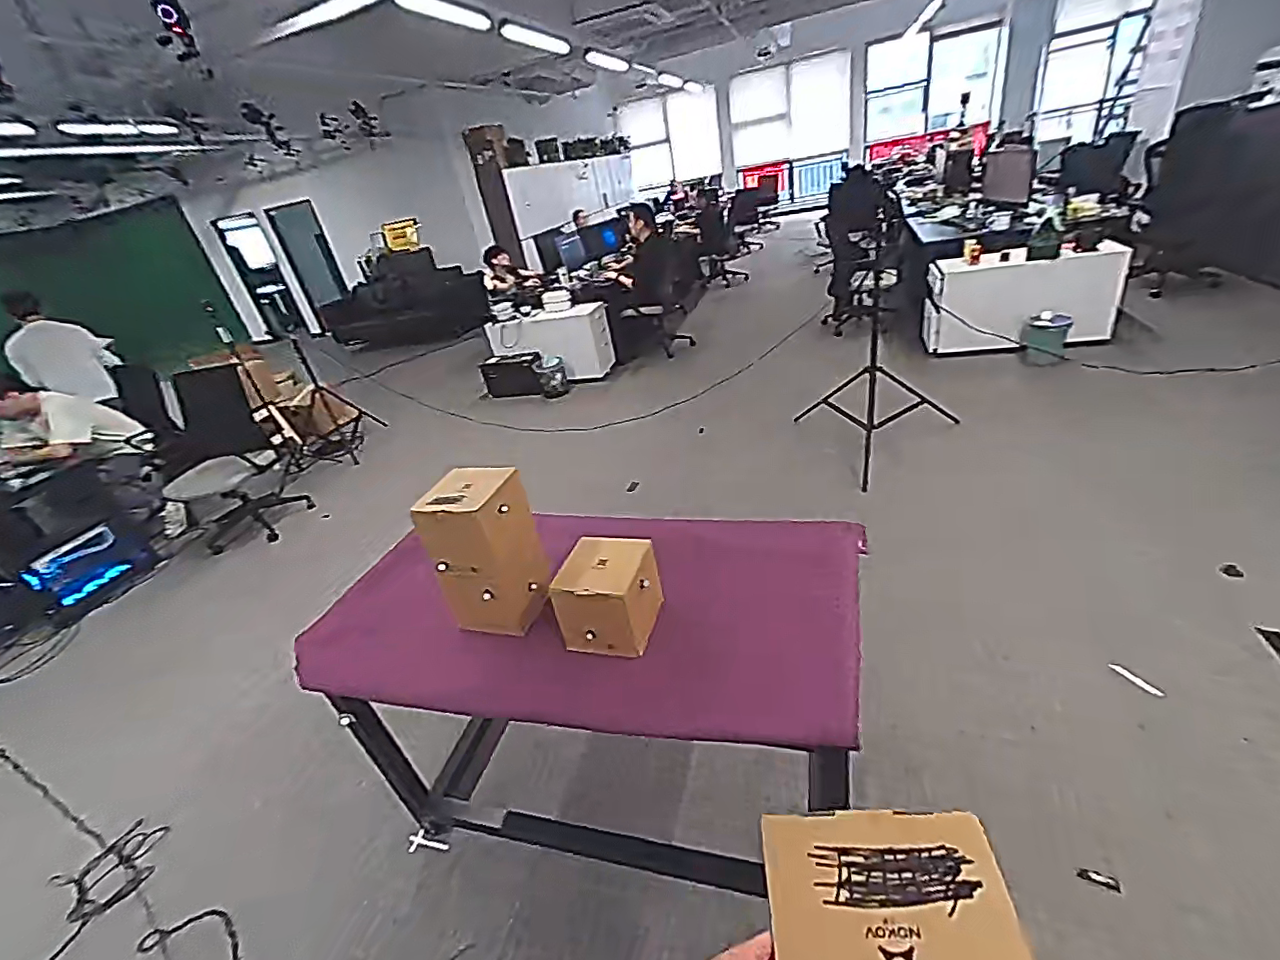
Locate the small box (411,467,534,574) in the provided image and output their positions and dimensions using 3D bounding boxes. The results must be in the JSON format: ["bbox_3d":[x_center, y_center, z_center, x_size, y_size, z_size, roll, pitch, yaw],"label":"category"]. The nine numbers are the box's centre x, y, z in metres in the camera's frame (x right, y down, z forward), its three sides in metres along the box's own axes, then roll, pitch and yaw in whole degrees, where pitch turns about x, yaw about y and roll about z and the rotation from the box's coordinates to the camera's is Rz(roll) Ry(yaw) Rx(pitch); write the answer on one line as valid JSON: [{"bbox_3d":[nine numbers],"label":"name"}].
[{"bbox_3d":[-0.349,0.087,1.168,0.168,0.176,0.179,0,31,19],"label":"small box"}]

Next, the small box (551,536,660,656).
[{"bbox_3d":[-0.062,0.239,1.136,0.168,0.176,0.179,0,31,20],"label":"small box"}]

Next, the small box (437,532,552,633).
[{"bbox_3d":[-0.322,0.231,1.244,0.179,0.176,0.168,0,31,20],"label":"small box"}]
